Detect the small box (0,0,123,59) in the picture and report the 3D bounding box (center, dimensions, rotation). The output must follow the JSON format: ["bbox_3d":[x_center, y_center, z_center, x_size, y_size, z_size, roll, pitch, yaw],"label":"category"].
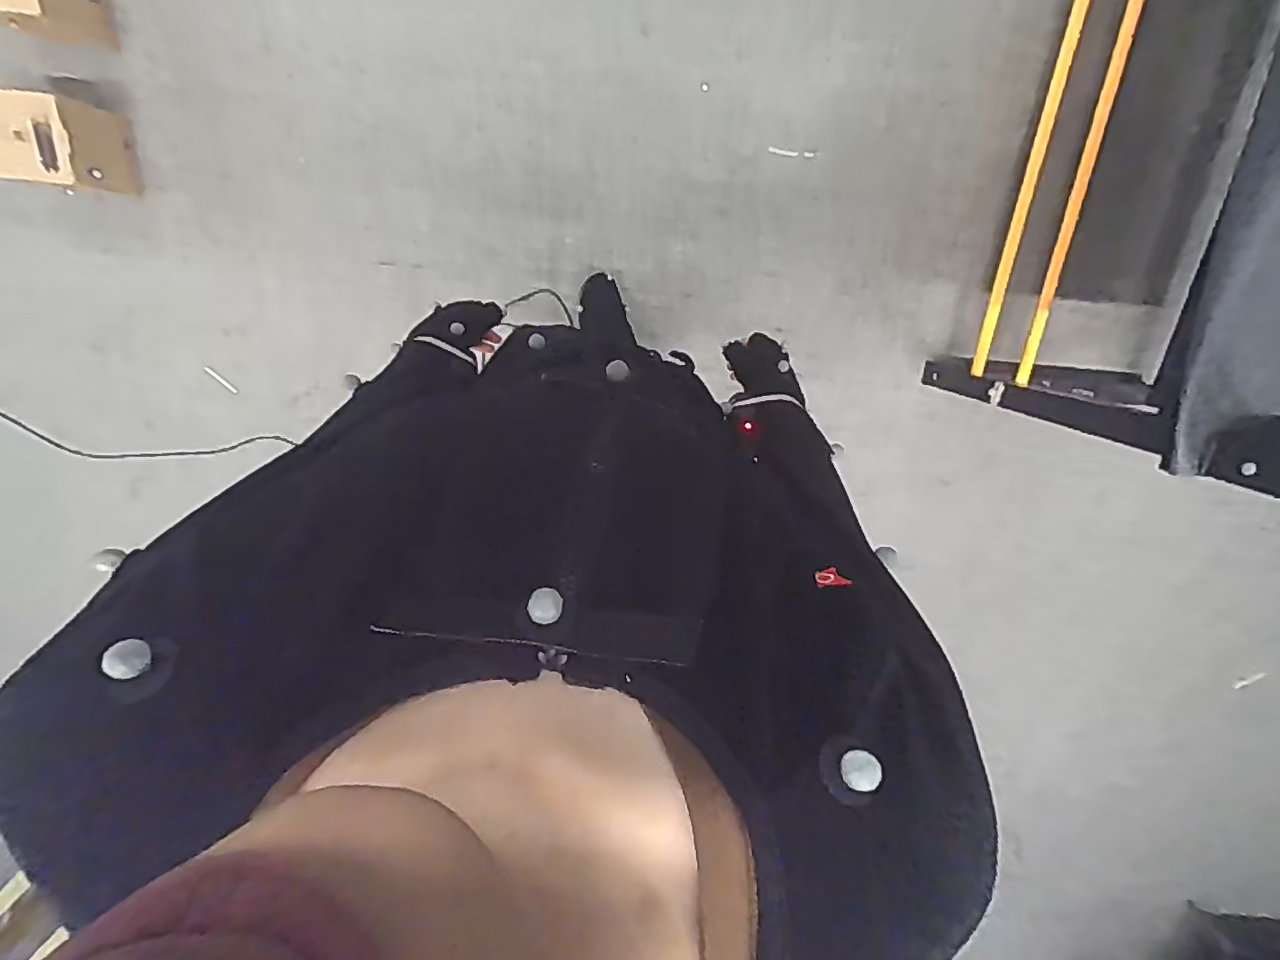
[{"bbox_3d":[-1.227,-0.994,1.101,0.179,0.176,0.168,5,108,-2],"label":"small box"}]
